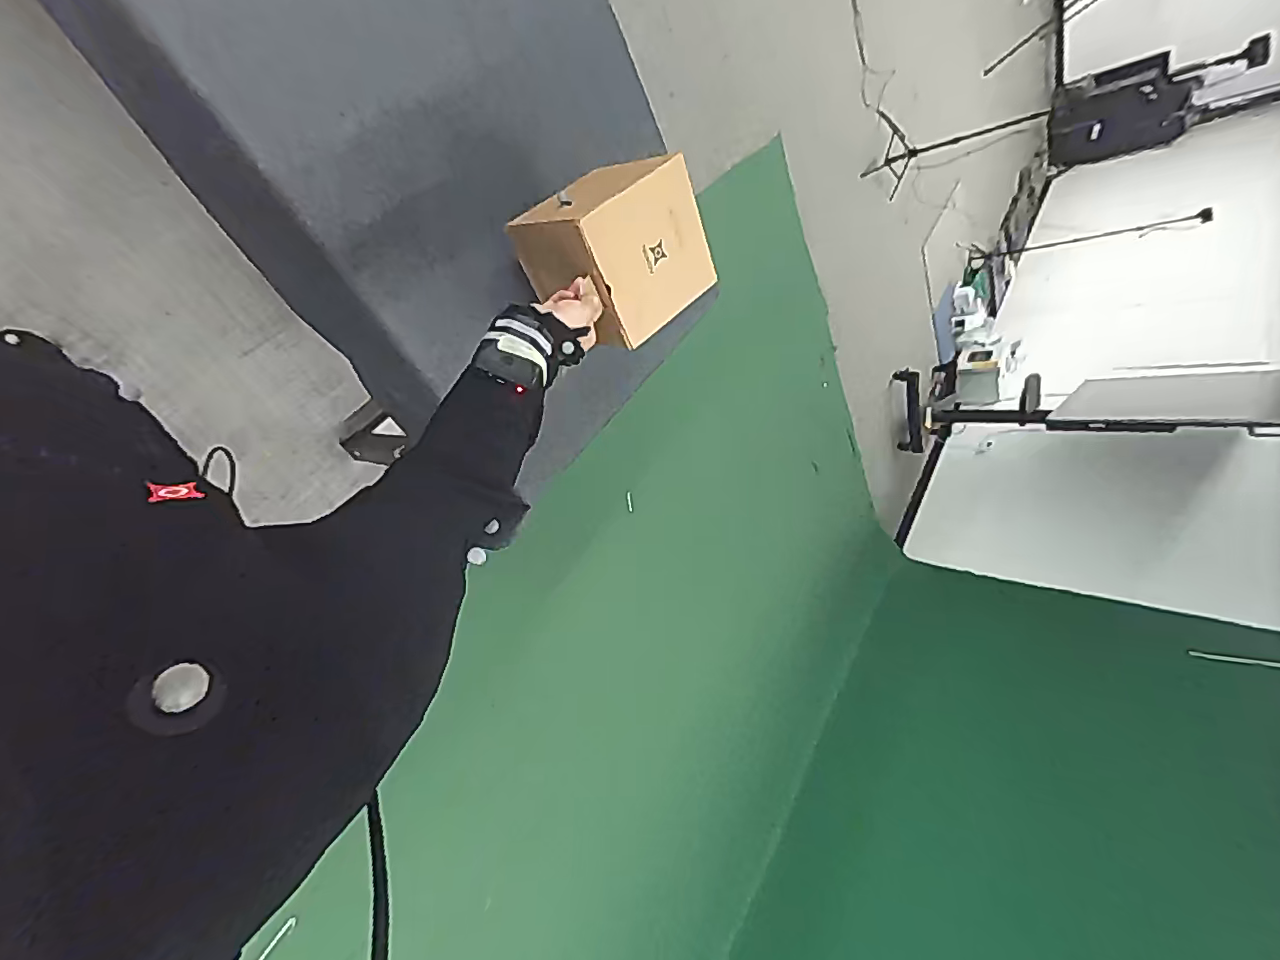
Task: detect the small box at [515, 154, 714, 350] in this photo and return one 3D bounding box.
[{"bbox_3d":[-0.038,-0.293,0.706,0.179,0.176,0.168,-45,133,-22],"label":"small box"}]
